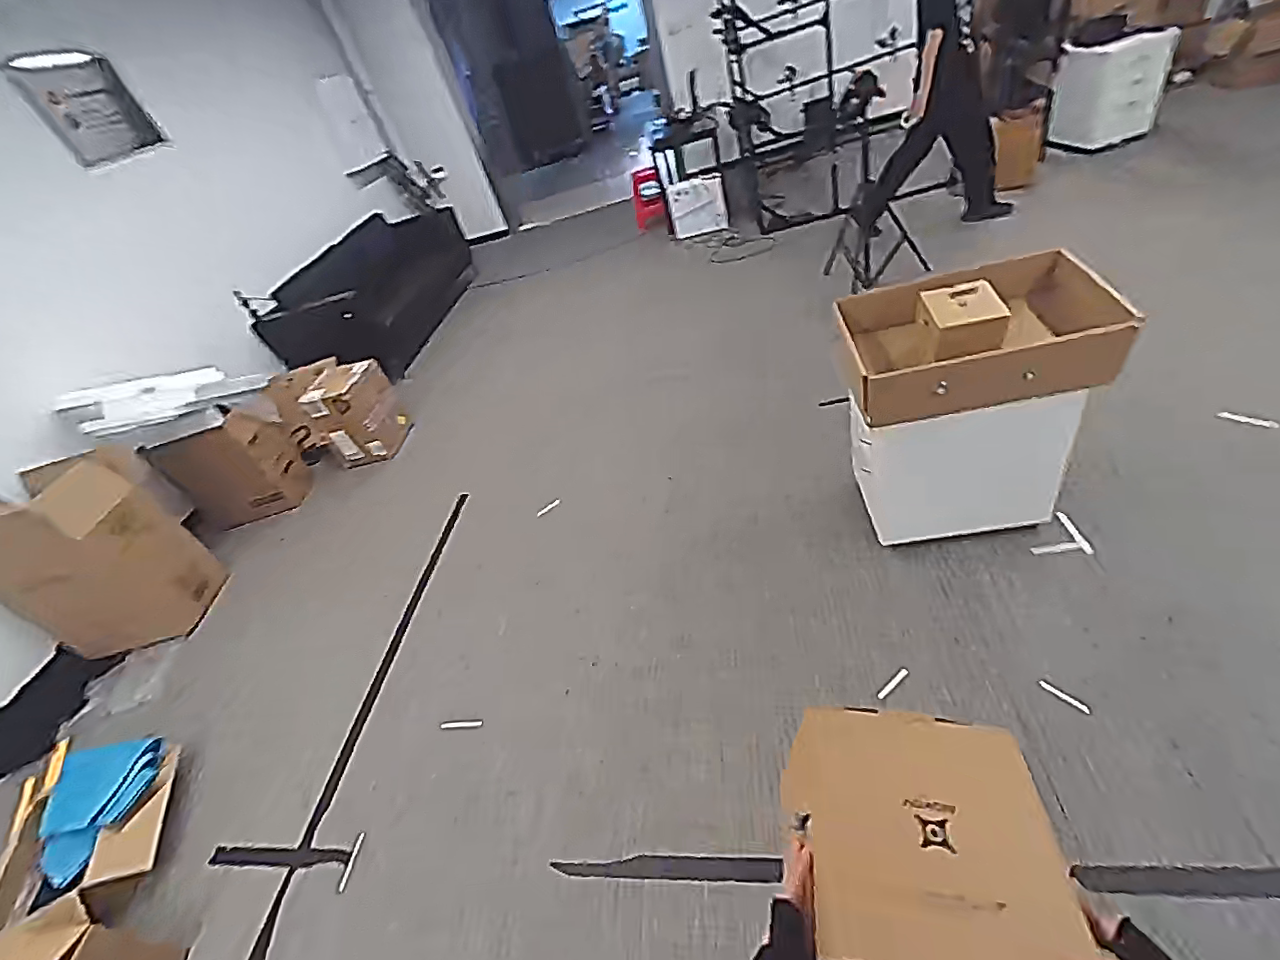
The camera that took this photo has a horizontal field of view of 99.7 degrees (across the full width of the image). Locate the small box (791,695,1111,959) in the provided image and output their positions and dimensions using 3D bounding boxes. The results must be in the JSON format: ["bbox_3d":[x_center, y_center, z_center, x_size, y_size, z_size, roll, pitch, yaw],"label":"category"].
[{"bbox_3d":[0.219,0.309,0.439,0.168,0.176,0.179,5,38,9],"label":"small box"}]

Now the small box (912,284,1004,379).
[{"bbox_3d":[0.853,-0.400,1.472,0.168,0.176,0.179,-9,46,14],"label":"small box"}]
